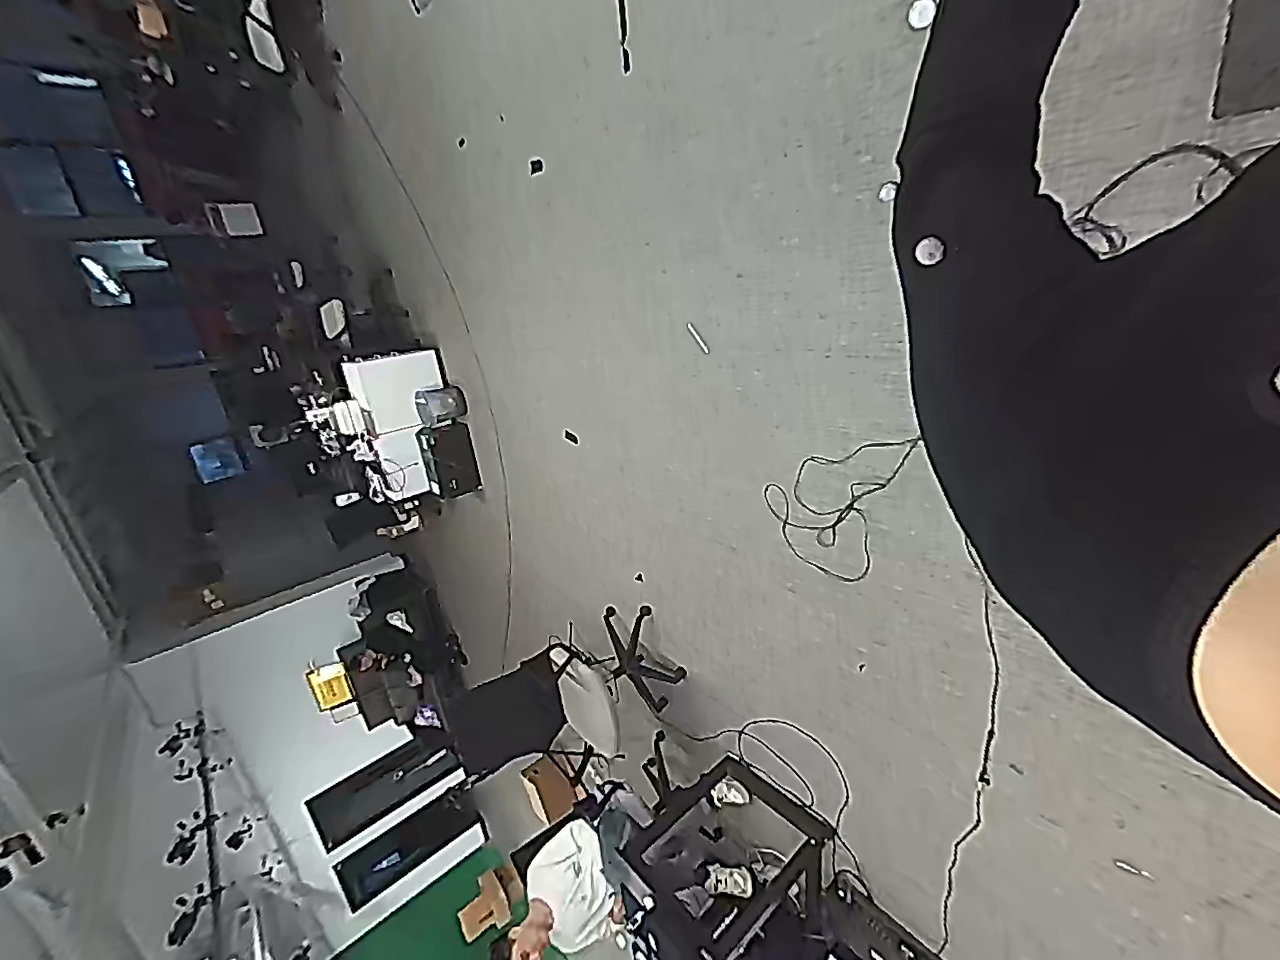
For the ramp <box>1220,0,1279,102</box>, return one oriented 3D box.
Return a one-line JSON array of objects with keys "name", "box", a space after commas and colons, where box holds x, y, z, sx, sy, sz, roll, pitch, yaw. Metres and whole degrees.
[{"name": "ramp", "box": [1.032, -1.037, 0.541, 0.509, 0.206, 0.991, 13, 118, 48]}]
